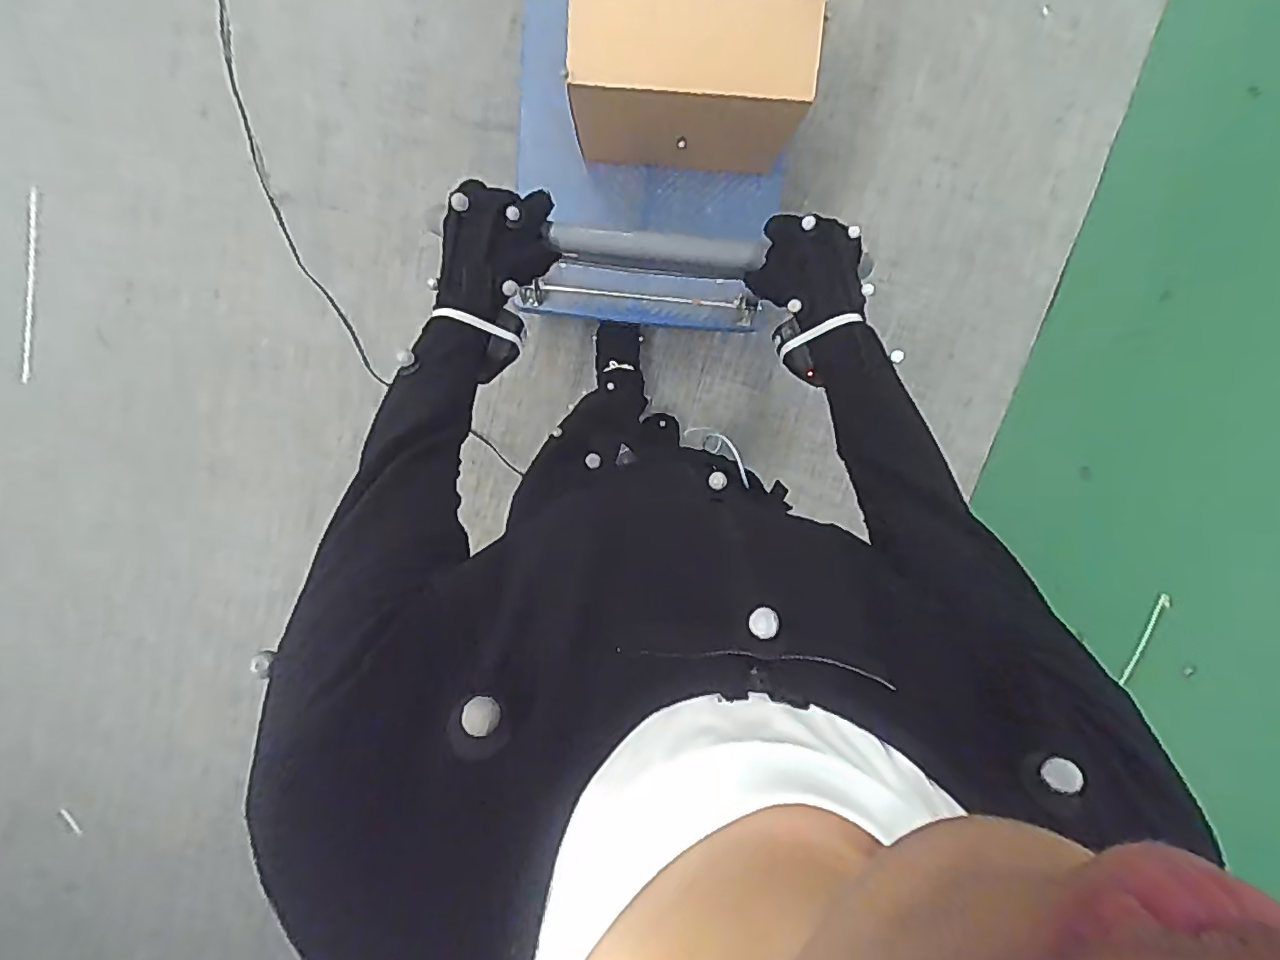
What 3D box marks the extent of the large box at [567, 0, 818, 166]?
[{"bbox_3d":[0.089,-0.810,1.002,0.408,0.320,0.320,3,100,0],"label":"large box"}]
